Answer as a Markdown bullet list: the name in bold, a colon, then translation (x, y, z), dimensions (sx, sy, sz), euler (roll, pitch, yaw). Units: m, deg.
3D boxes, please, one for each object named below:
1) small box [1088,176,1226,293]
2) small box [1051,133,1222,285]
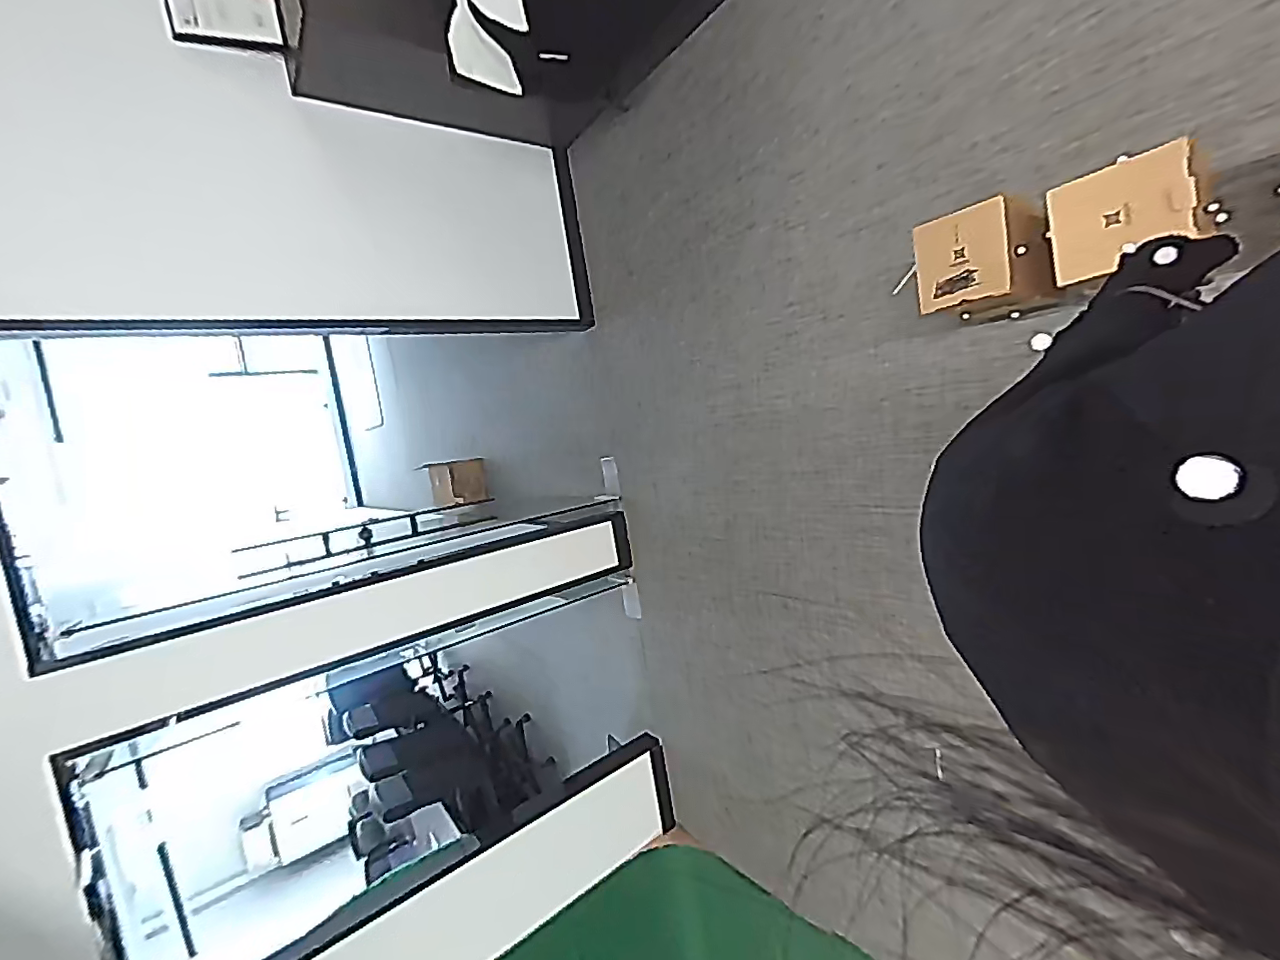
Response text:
- **small box**: translation (0.955, -0.460, 1.007), dimensions (0.168, 0.176, 0.179), euler (-4, 97, 55)
- **small box**: translation (0.830, -0.436, 0.906), dimensions (0.179, 0.176, 0.168), euler (-6, 96, 53)
